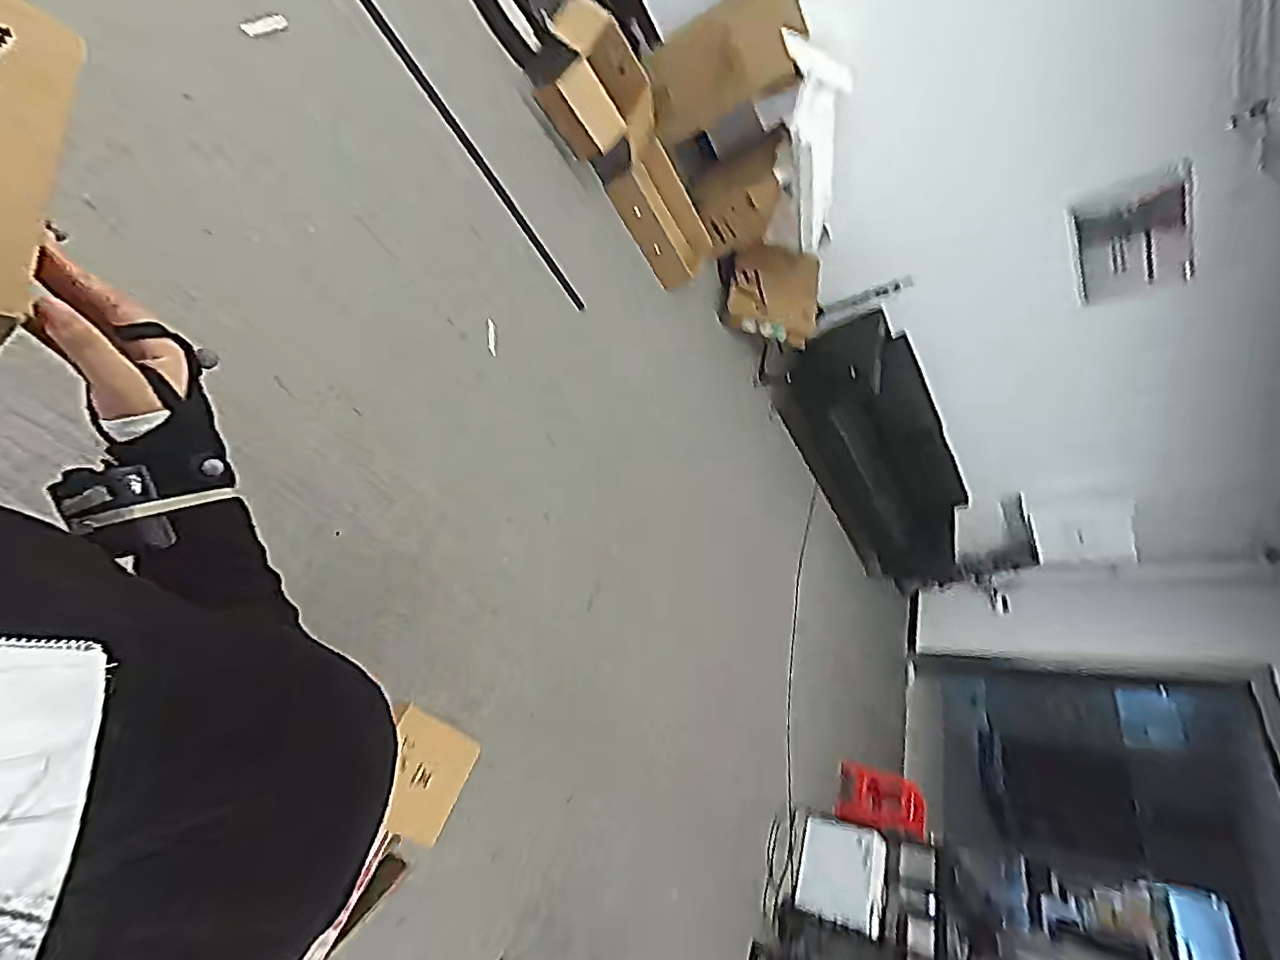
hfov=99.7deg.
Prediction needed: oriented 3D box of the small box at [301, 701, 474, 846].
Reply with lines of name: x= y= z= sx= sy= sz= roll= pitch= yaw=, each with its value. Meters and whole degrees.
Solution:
small box: x=-0.435 y=0.498 z=0.938 sx=0.179 sy=0.176 sz=0.168 roll=51 pitch=44 yaw=-29

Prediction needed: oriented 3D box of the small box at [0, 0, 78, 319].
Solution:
small box: x=-0.445 y=-0.192 z=0.284 sx=0.168 sy=0.176 sz=0.179 roll=13 pitch=79 yaw=-54
